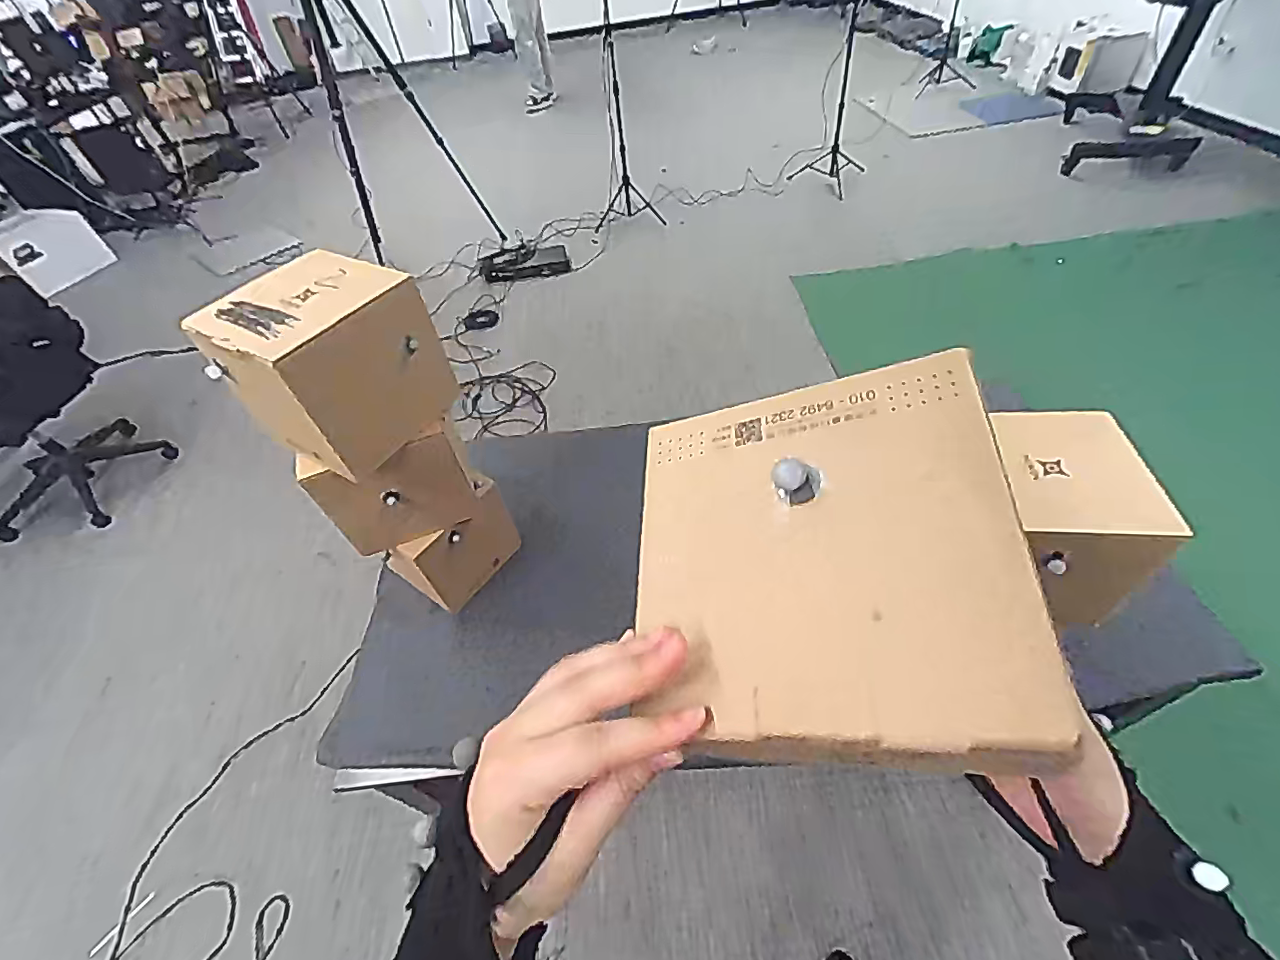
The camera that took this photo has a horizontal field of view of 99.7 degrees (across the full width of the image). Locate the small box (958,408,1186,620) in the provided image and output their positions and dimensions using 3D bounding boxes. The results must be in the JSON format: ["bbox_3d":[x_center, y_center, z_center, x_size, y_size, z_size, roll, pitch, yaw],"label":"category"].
[{"bbox_3d":[0.405,0.039,0.587,0.179,0.176,0.168,0,48,10],"label":"small box"}]

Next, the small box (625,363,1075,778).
[{"bbox_3d":[0.107,0.065,0.308,0.168,0.179,0.176,-13,54,24],"label":"small box"}]

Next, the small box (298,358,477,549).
[{"bbox_3d":[-0.341,-0.035,0.754,0.179,0.176,0.168,-22,51,-10],"label":"small box"}]

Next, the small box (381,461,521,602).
[{"bbox_3d":[-0.325,0.069,0.880,0.179,0.176,0.168,26,57,26],"label":"small box"}]
